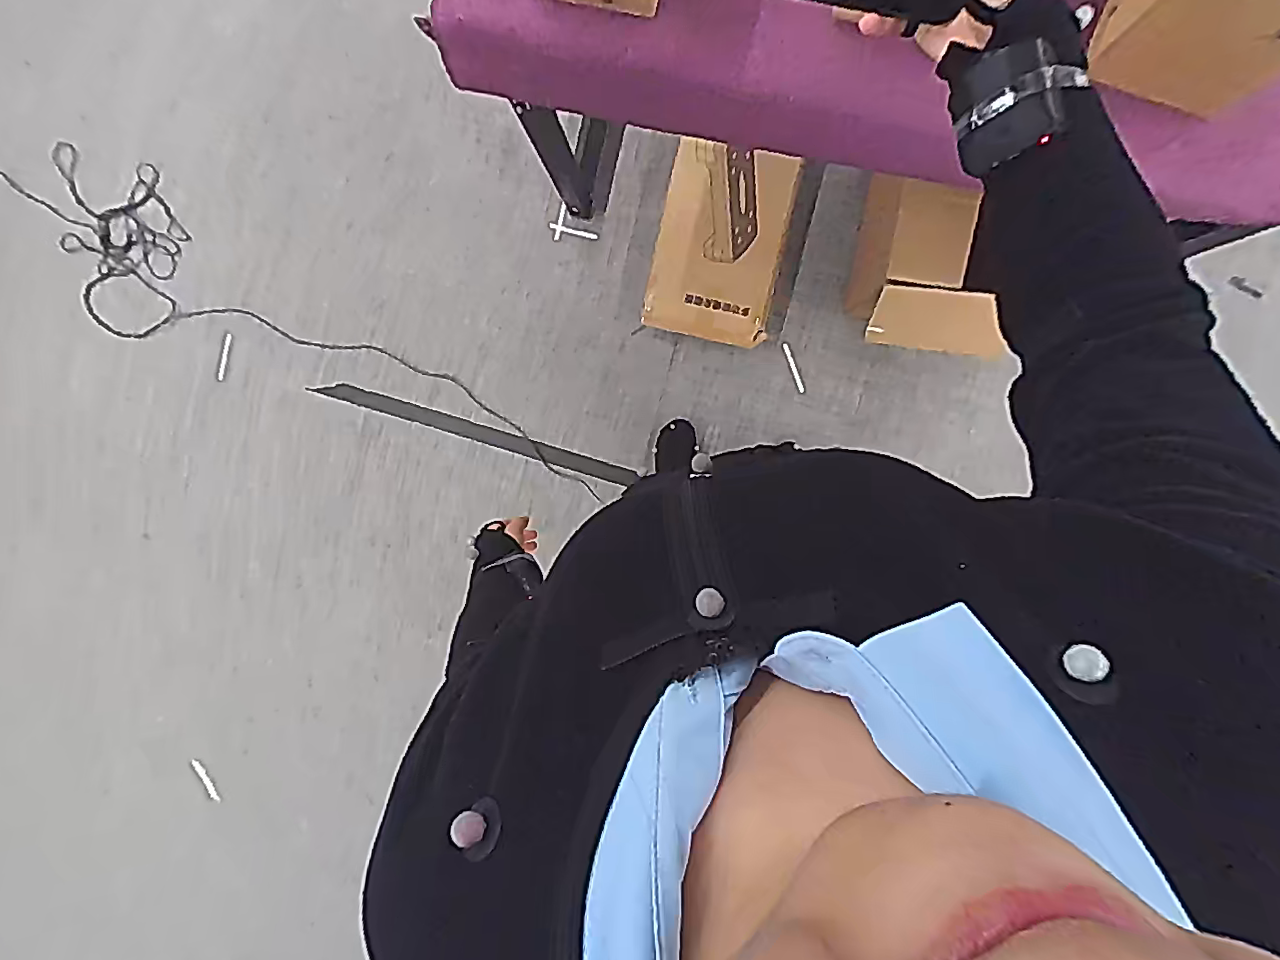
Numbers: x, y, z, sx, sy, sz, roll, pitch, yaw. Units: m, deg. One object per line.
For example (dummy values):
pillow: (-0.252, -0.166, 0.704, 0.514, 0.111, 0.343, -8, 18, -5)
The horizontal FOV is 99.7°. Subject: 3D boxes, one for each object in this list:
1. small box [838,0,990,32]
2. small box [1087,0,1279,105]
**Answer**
small box: (0.344, -0.648, 0.596, 0.179, 0.176, 0.168, 14, 94, 4)
small box: (0.646, -0.549, 0.580, 0.179, 0.176, 0.168, 21, 96, 2)
